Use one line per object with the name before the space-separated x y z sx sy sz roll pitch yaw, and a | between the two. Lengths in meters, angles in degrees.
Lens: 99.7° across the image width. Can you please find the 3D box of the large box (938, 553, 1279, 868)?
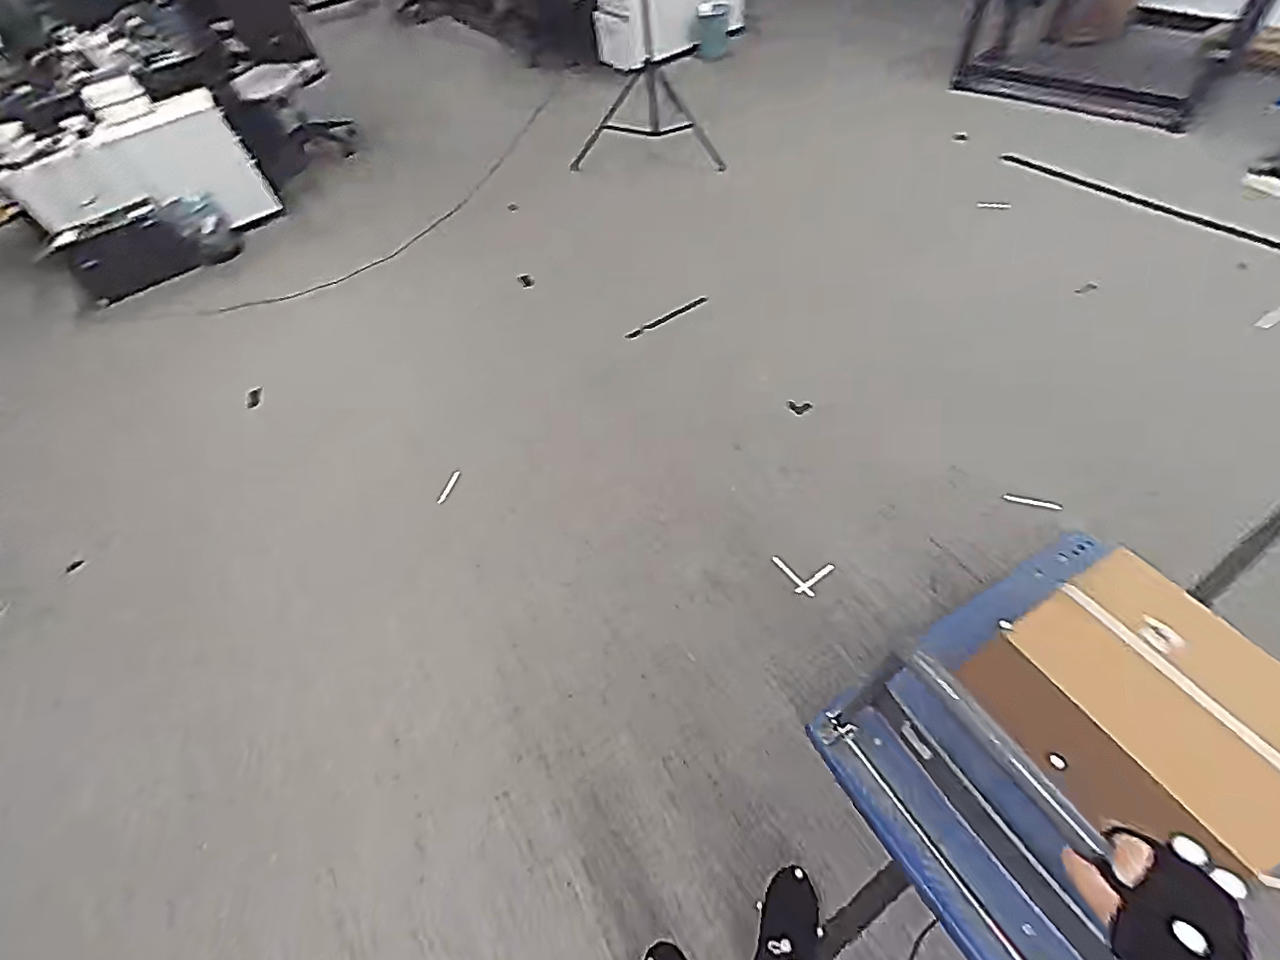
large box | 0.870 0.425 1.013 0.320 0.320 0.408 -29 54 -13
